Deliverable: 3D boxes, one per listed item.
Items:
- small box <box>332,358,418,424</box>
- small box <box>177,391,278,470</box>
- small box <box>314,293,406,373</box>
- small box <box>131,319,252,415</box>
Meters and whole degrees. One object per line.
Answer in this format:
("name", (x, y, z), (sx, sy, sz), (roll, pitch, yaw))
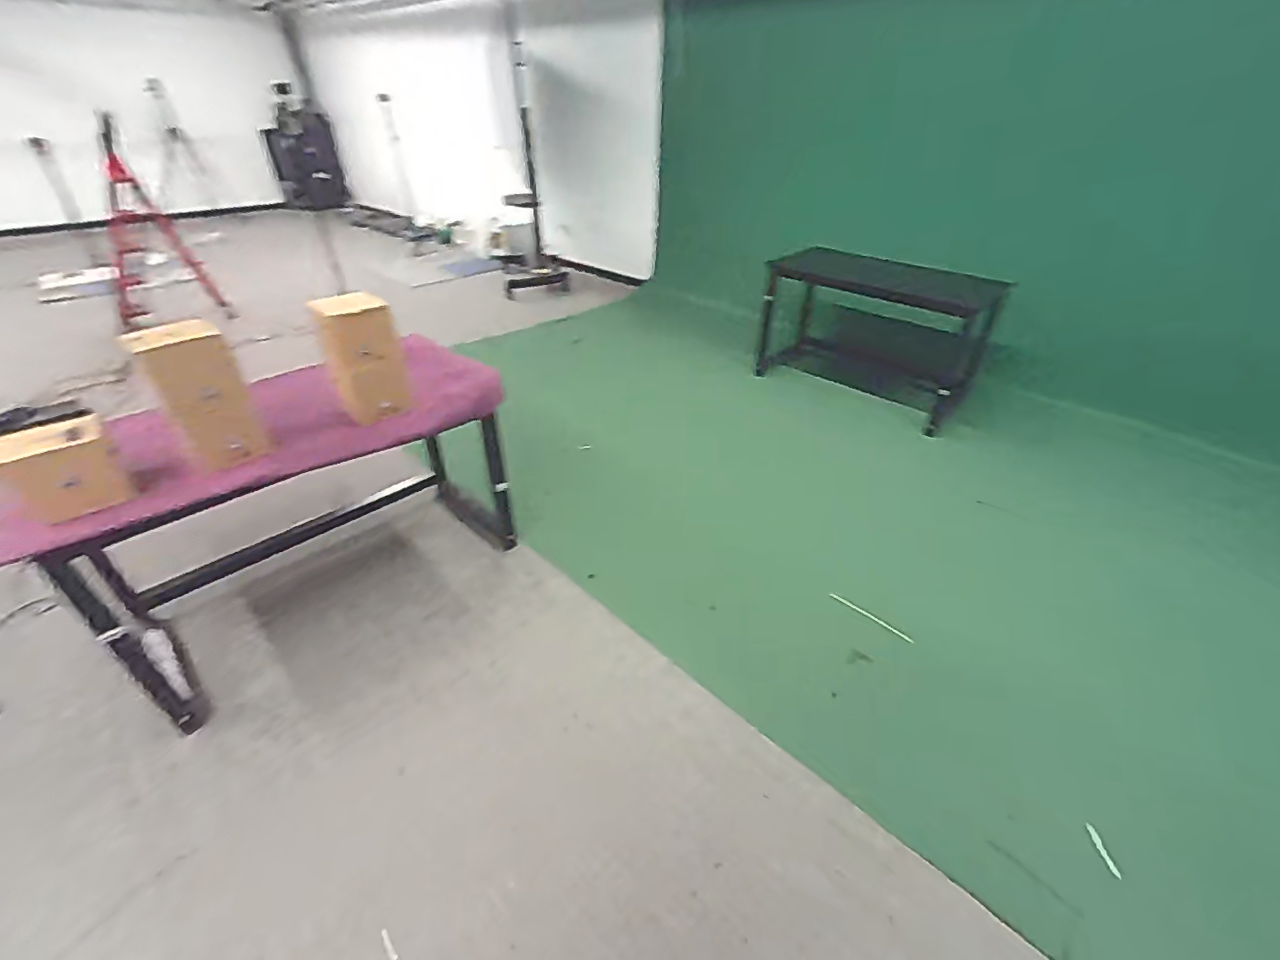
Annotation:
("small box", (-0.806, -0.290, 1.653), (0.179, 0.176, 0.168), (30, 45, 35))
("small box", (-1.104, -0.148, 1.436), (0.179, 0.176, 0.168), (28, 43, 34))
("small box", (-0.806, -0.426, 1.564), (0.179, 0.176, 0.168), (30, 44, 34))
("small box", (-1.102, -0.282, 1.342), (0.168, 0.176, 0.179), (27, 41, 35))
